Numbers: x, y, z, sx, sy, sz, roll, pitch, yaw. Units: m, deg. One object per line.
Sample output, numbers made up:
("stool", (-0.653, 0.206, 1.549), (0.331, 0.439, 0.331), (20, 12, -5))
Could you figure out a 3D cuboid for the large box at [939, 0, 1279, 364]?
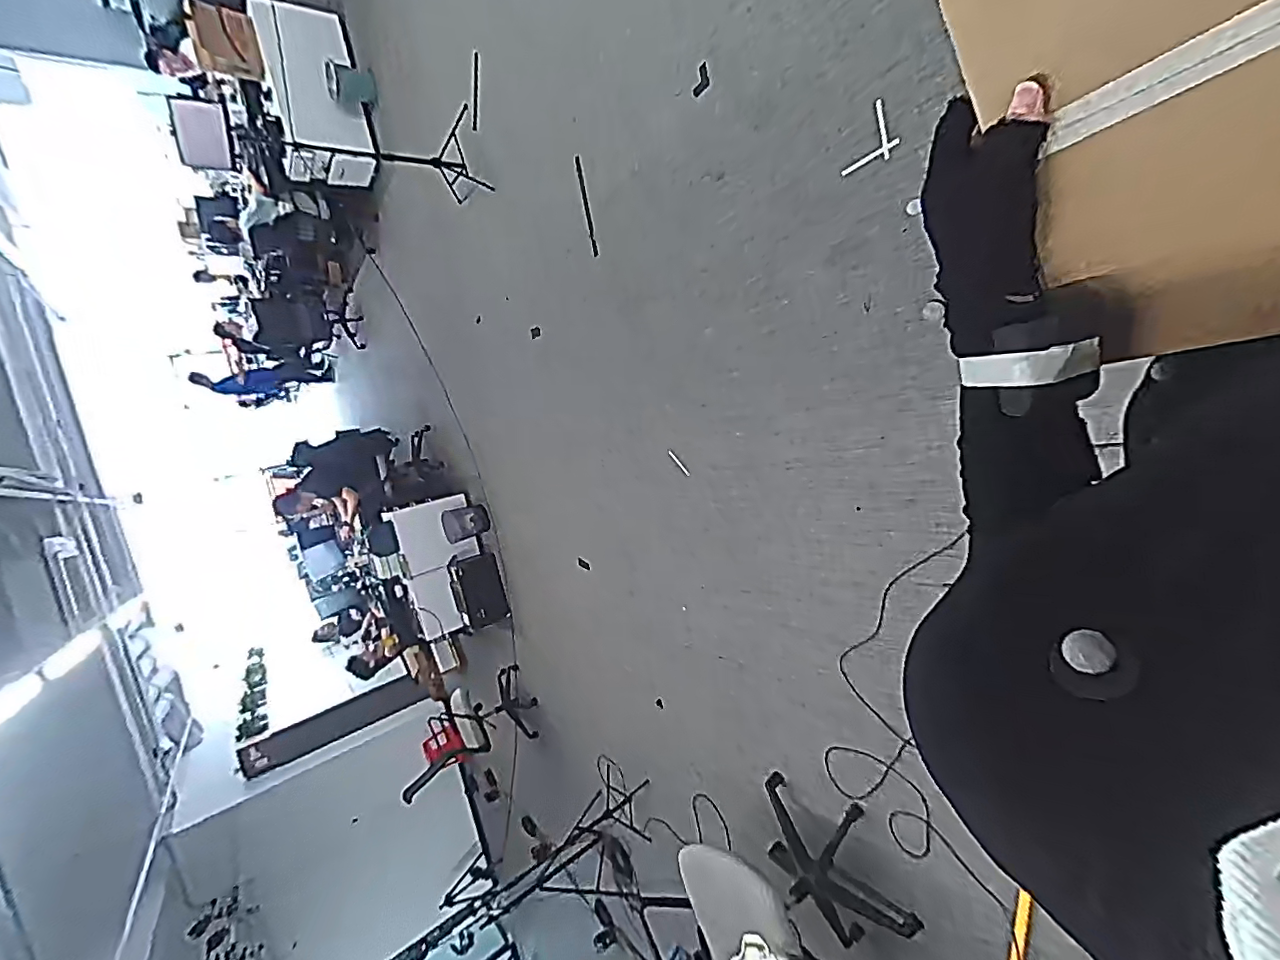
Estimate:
("large box", (0.438, -0.305, 0.258), (0.408, 0.320, 0.320), (-5, 123, 57))
